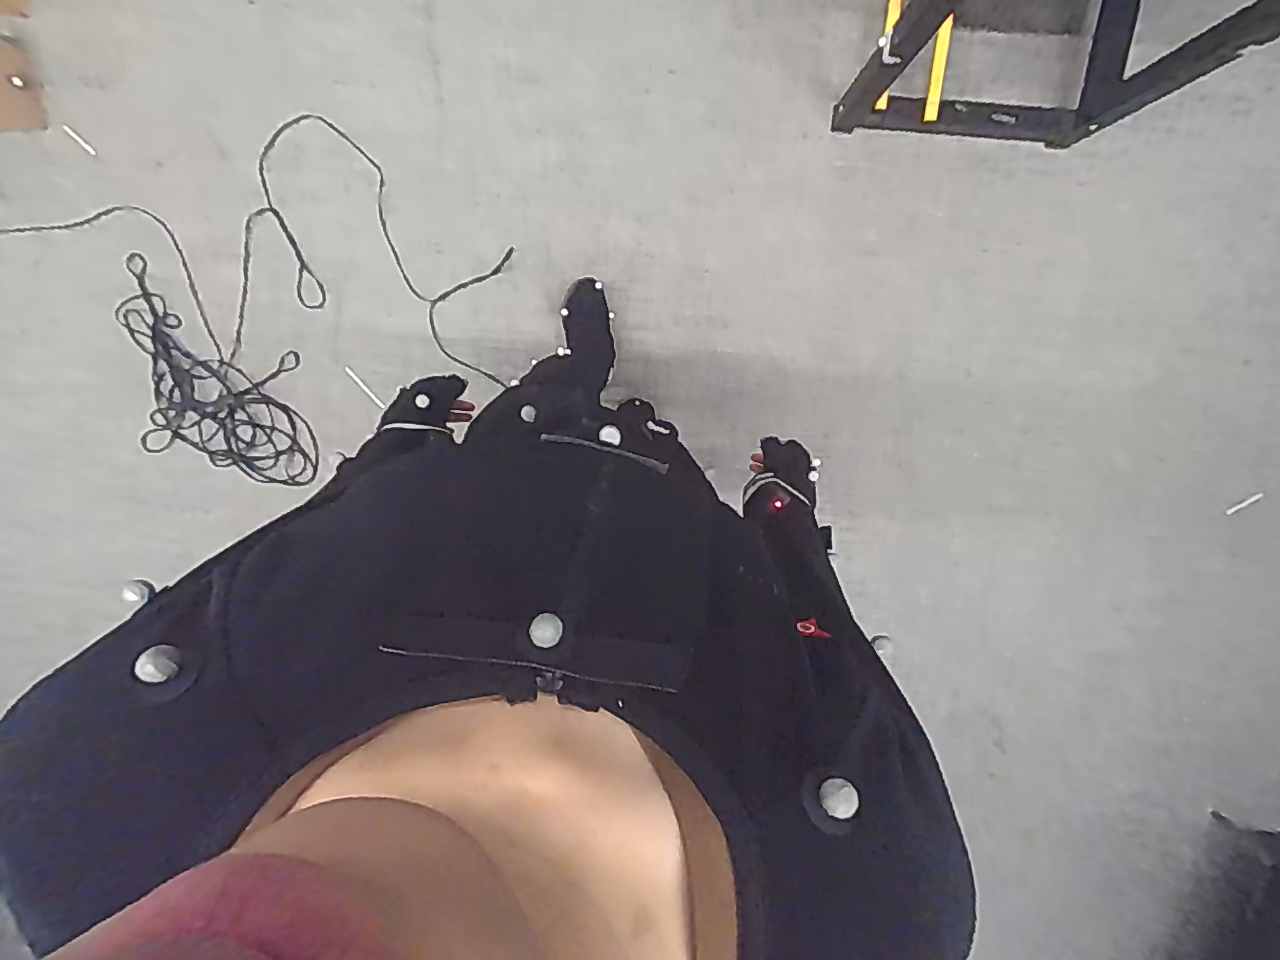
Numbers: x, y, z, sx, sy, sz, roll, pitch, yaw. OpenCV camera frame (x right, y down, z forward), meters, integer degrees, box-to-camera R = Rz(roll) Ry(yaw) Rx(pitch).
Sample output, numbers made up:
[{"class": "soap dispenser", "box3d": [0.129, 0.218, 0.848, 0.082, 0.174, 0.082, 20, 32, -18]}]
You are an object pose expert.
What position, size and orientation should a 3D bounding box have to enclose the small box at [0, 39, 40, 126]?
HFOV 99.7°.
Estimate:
[{"class": "small box", "box3d": [-1.551, -0.925, 1.226, 0.179, 0.176, 0.168, -3, 103, 1]}]
